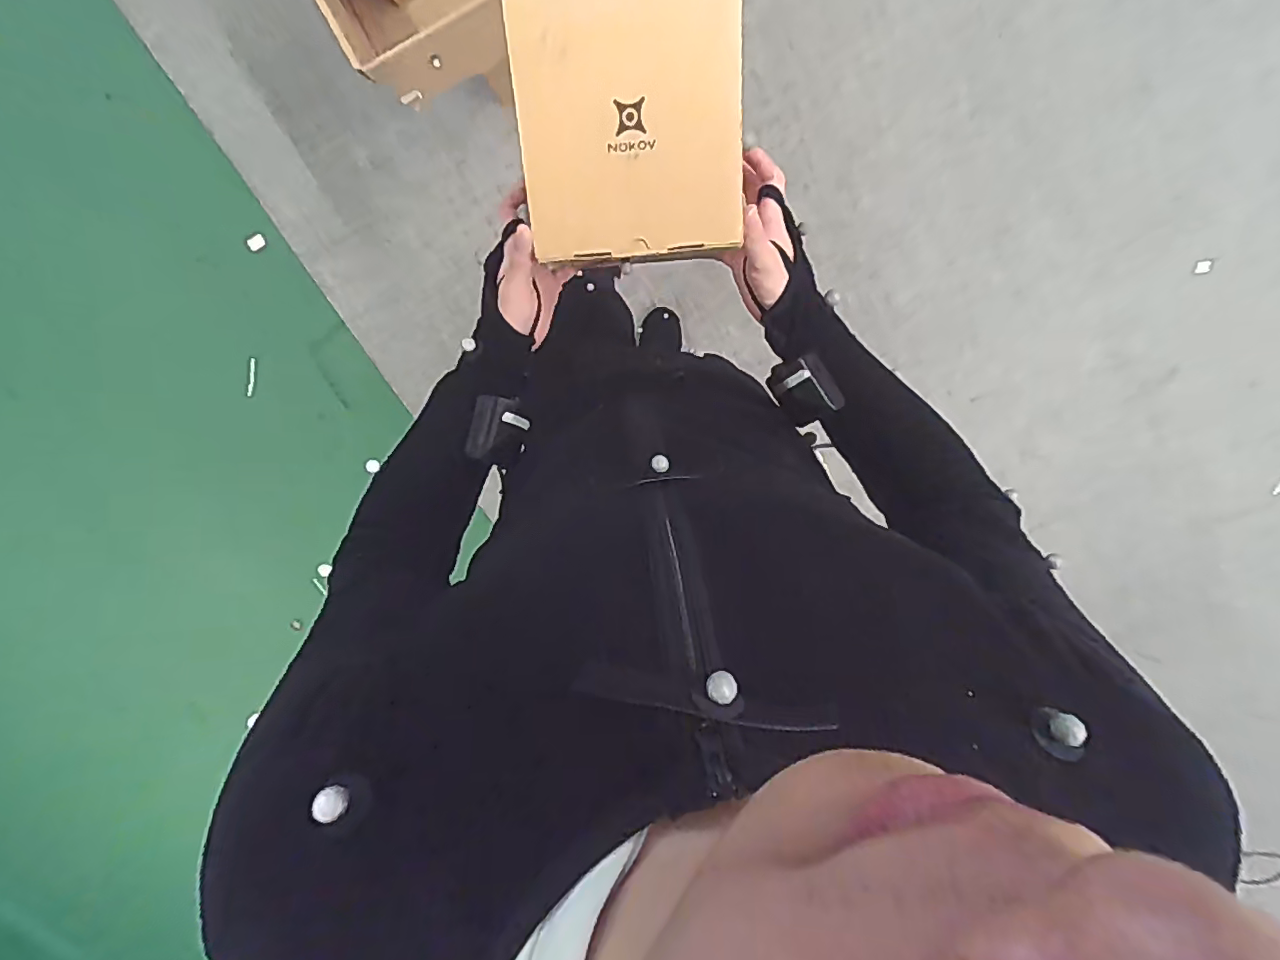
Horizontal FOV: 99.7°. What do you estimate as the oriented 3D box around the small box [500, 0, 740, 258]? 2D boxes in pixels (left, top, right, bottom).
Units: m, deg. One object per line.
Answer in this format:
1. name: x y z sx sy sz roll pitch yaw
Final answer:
1. small box: -0.010 -0.293 0.466 0.168 0.176 0.179 -4 112 2
